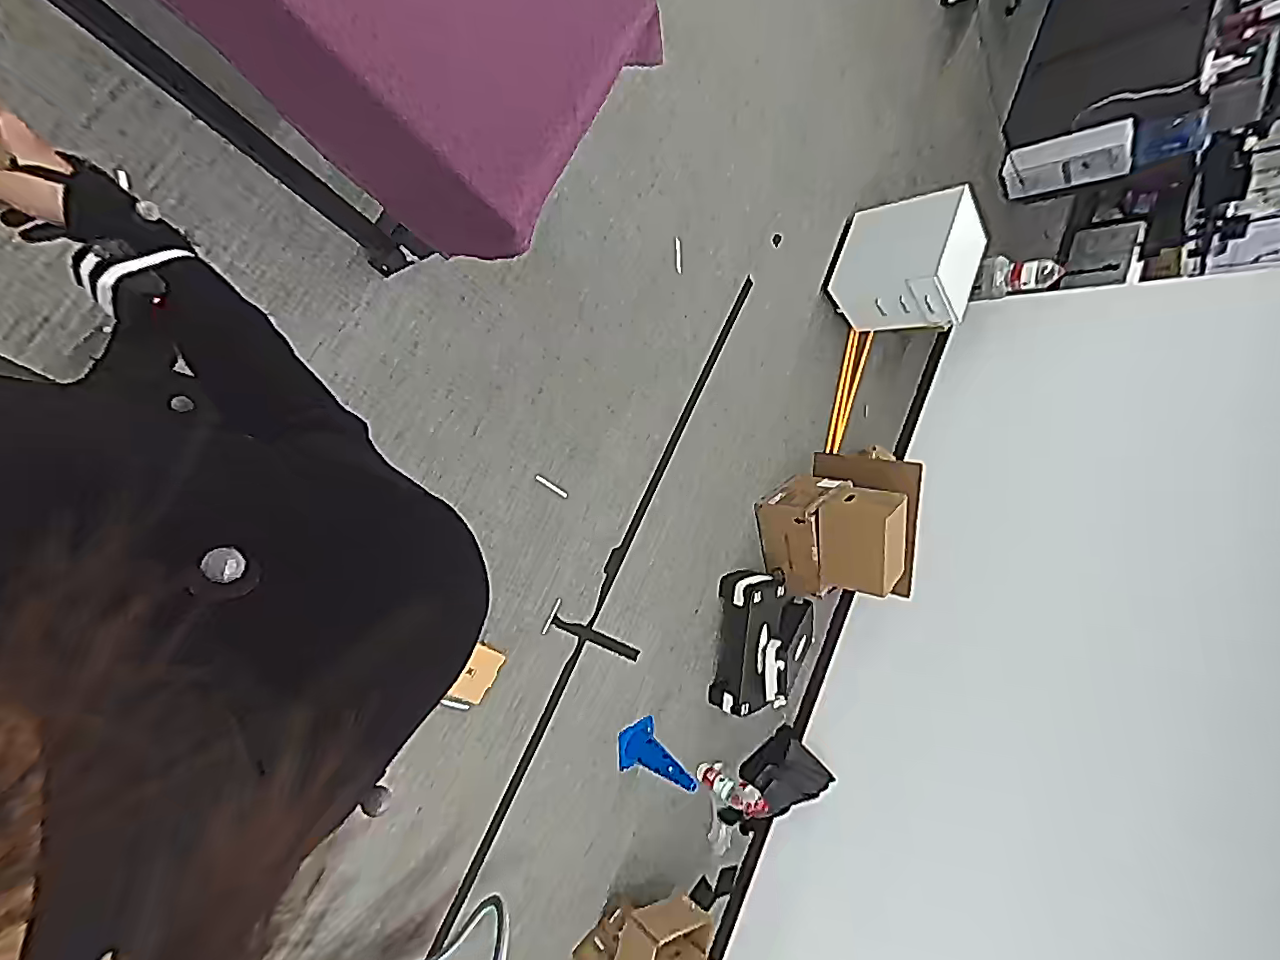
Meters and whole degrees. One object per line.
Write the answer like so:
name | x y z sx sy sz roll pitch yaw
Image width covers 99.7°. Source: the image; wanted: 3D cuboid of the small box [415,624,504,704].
small box | -0.576 0.575 1.712 0.179 0.176 0.168 42 70 -38
